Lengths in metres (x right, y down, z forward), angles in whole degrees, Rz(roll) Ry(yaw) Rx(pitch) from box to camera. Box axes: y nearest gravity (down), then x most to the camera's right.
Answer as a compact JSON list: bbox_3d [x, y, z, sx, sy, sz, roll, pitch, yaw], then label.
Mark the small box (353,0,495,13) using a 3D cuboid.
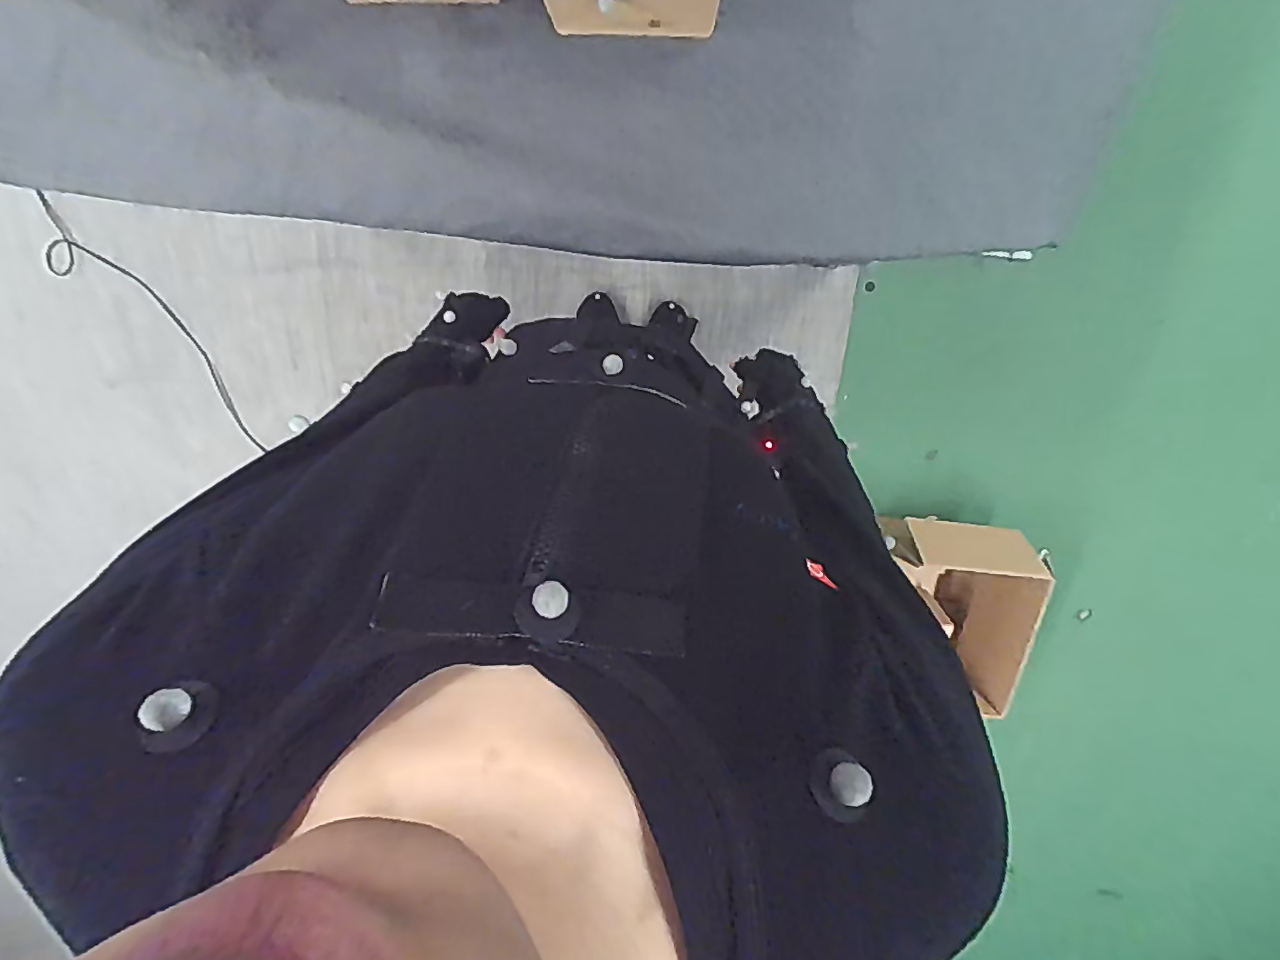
[{"bbox_3d":[-0.230,-0.554,0.468,0.168,0.176,0.179,1,109,1],"label":"small box"}]
